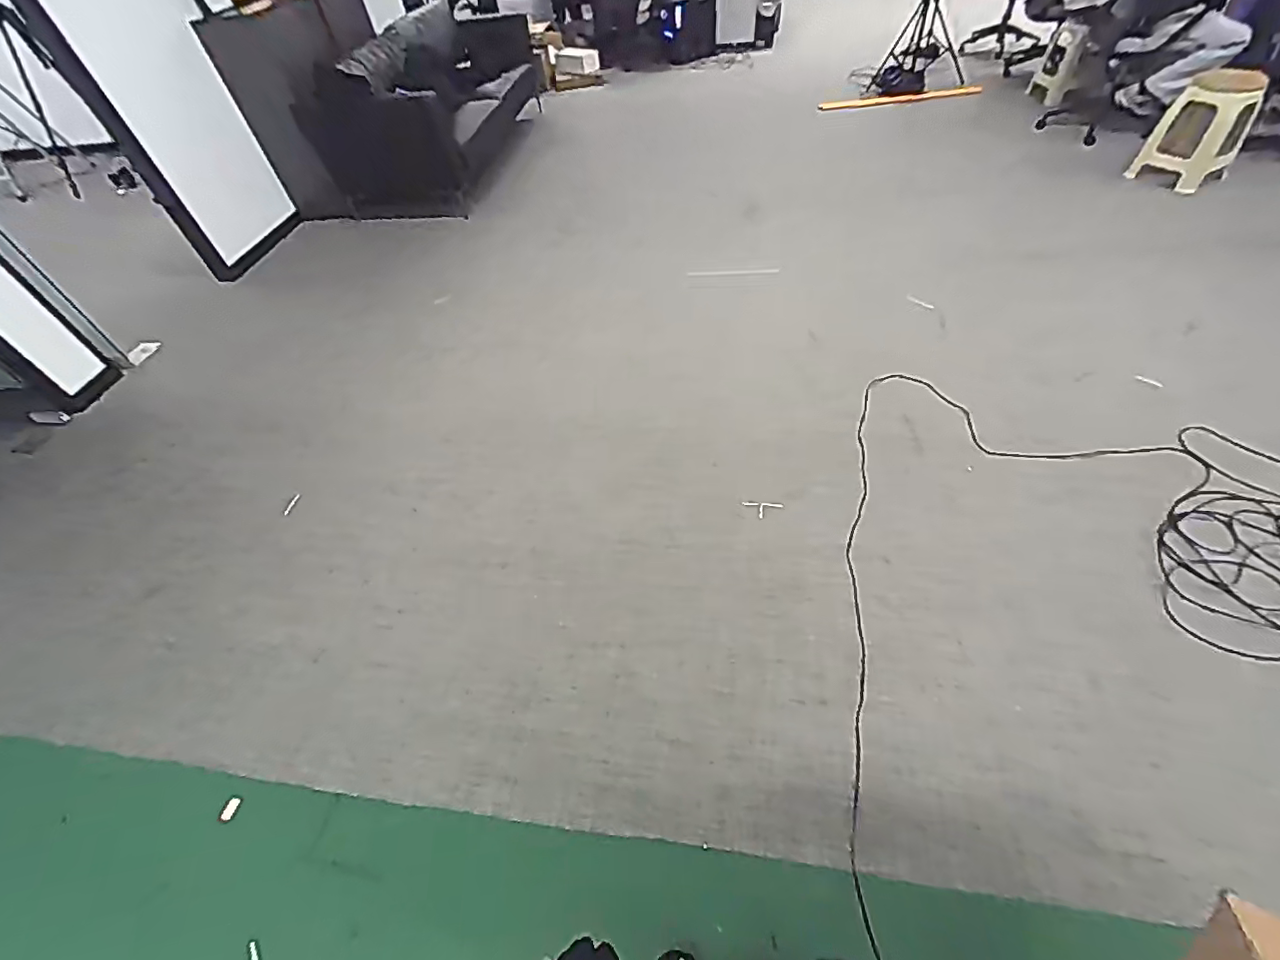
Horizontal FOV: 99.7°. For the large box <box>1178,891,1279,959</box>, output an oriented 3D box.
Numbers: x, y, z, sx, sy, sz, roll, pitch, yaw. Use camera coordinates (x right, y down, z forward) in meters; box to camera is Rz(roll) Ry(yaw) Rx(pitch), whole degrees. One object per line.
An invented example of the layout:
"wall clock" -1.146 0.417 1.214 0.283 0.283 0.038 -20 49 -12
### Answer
"large box" 0.690 0.701 0.463 0.320 0.408 0.320 25 101 33
